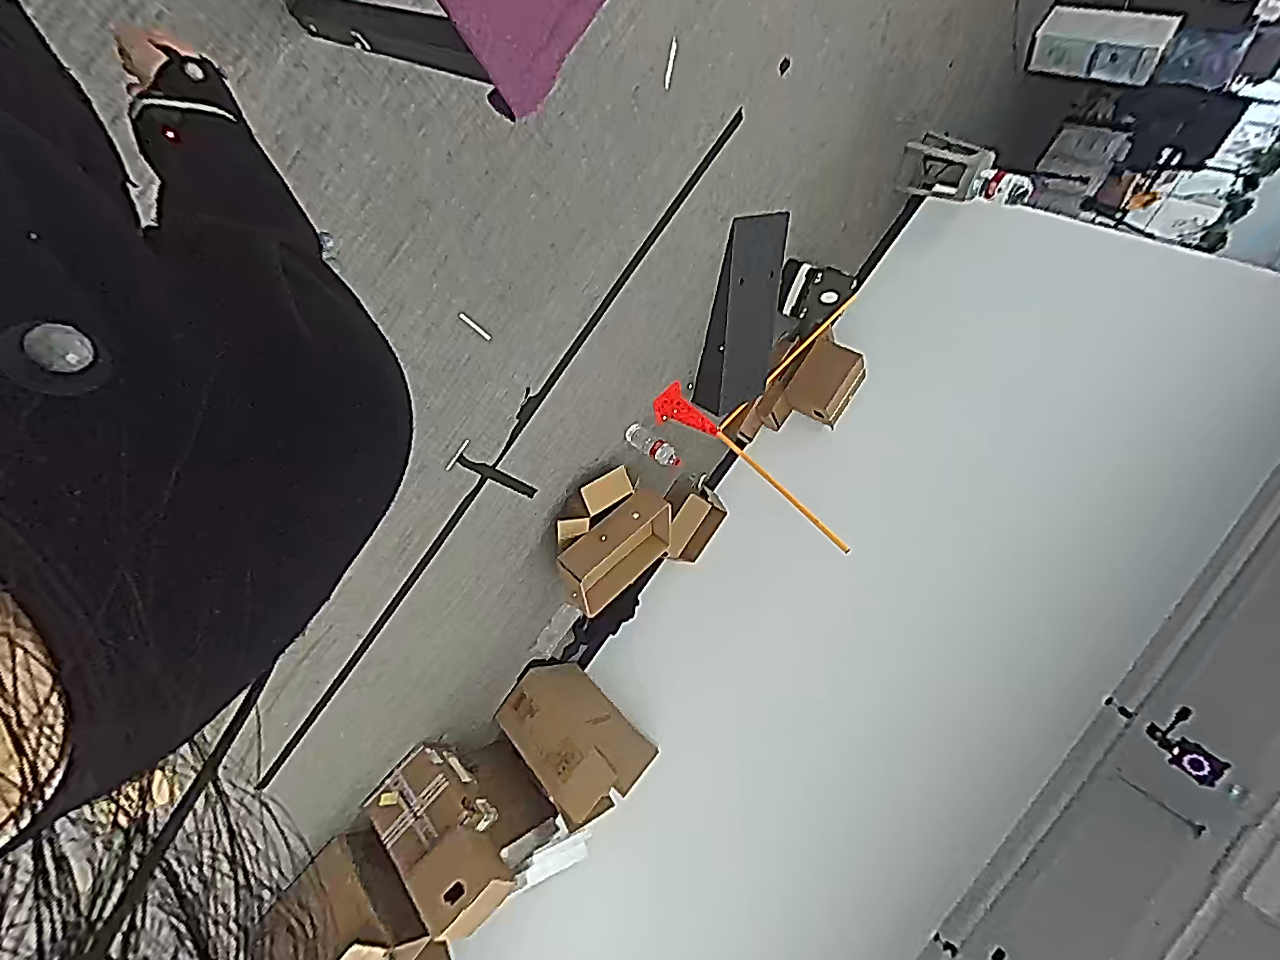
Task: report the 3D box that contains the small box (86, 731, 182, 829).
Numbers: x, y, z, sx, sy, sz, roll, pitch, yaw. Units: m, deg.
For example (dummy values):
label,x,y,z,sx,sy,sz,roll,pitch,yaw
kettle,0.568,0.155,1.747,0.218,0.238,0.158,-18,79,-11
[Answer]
label,x,y,z,sx,sy,sz,roll,pitch,yaw
small box,-1.538,0.901,1.644,0.168,0.176,0.179,-22,139,-43
